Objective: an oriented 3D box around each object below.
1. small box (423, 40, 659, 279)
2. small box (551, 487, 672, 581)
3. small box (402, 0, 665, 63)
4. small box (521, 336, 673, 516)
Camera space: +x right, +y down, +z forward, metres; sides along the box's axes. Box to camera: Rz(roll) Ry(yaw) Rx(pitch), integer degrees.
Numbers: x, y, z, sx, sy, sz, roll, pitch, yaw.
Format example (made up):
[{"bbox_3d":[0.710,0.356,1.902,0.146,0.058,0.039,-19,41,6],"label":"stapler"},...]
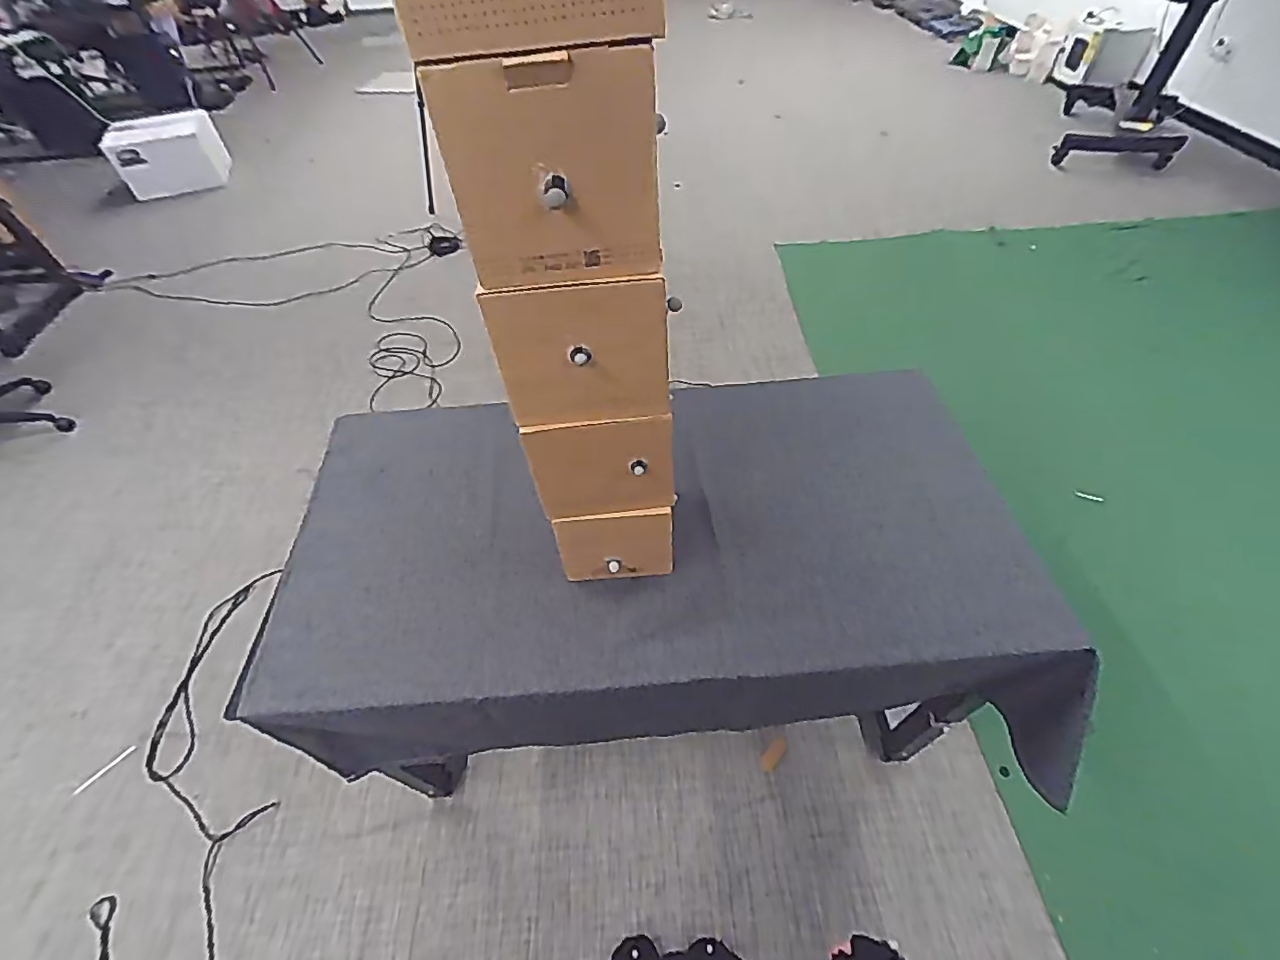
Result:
[{"bbox_3d":[-0.072,-0.298,0.492,0.168,0.176,0.179,-5,49,0],"label":"small box"},{"bbox_3d":[-0.038,0.038,0.846,0.168,0.176,0.179,-4,50,1],"label":"small box"},{"bbox_3d":[-0.079,-0.405,0.366,0.179,0.176,0.168,-5,48,1],"label":"small box"},{"bbox_3d":[-0.052,-0.069,0.724,0.179,0.176,0.168,-6,48,-1],"label":"small box"}]
